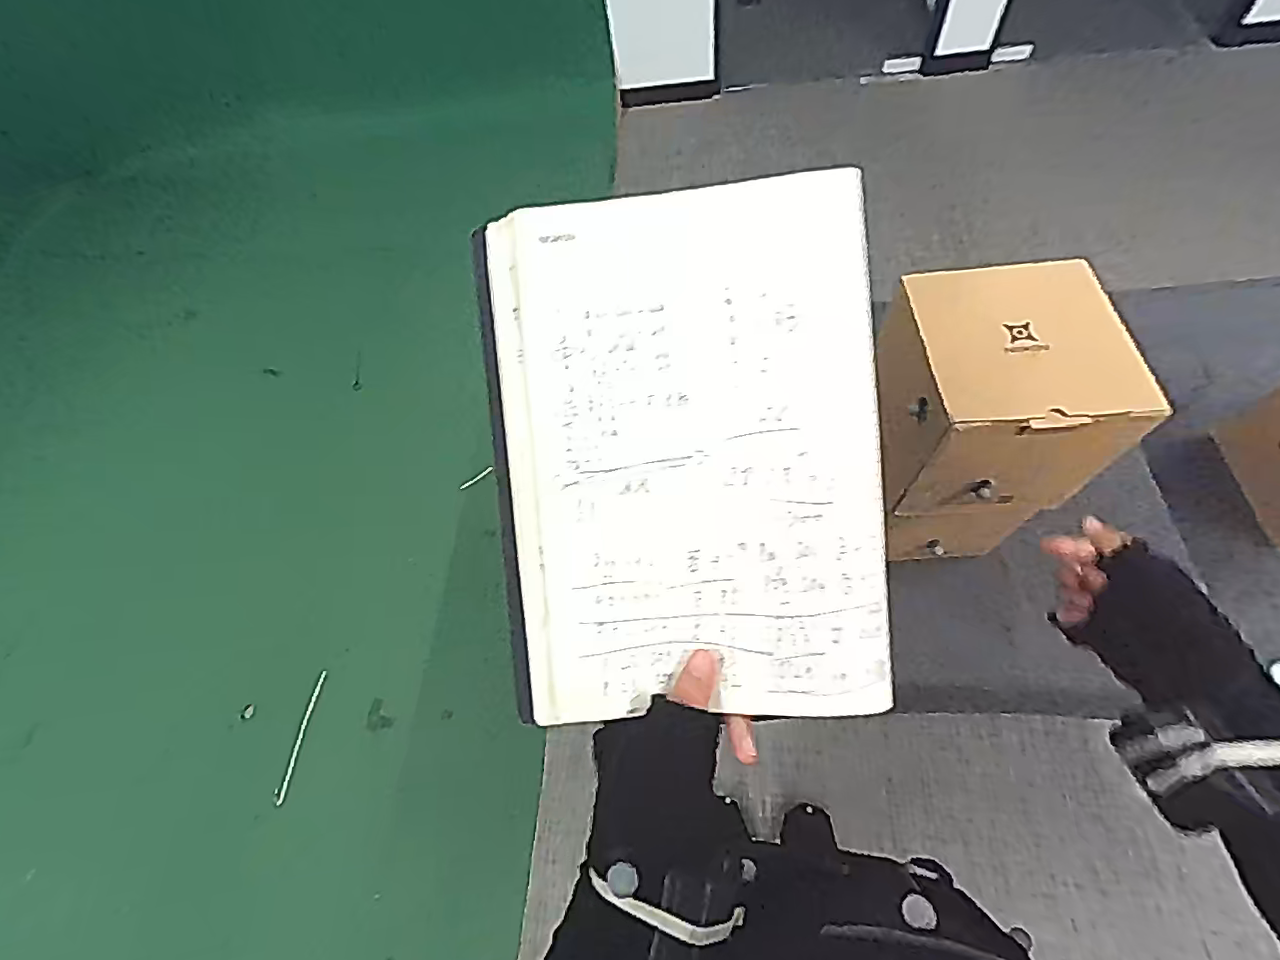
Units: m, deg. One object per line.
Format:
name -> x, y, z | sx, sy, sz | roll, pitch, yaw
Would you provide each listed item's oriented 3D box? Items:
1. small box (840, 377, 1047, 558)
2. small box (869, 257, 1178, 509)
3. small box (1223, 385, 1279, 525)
small box -> 0.363, -0.016, 0.679 | 0.168, 0.176, 0.179 | -5, 61, 6
small box -> 0.343, -0.088, 0.535 | 0.168, 0.176, 0.179 | -4, 61, 6
small box -> 0.856, -0.037, 0.619 | 0.168, 0.176, 0.179 | -2, 60, 8
